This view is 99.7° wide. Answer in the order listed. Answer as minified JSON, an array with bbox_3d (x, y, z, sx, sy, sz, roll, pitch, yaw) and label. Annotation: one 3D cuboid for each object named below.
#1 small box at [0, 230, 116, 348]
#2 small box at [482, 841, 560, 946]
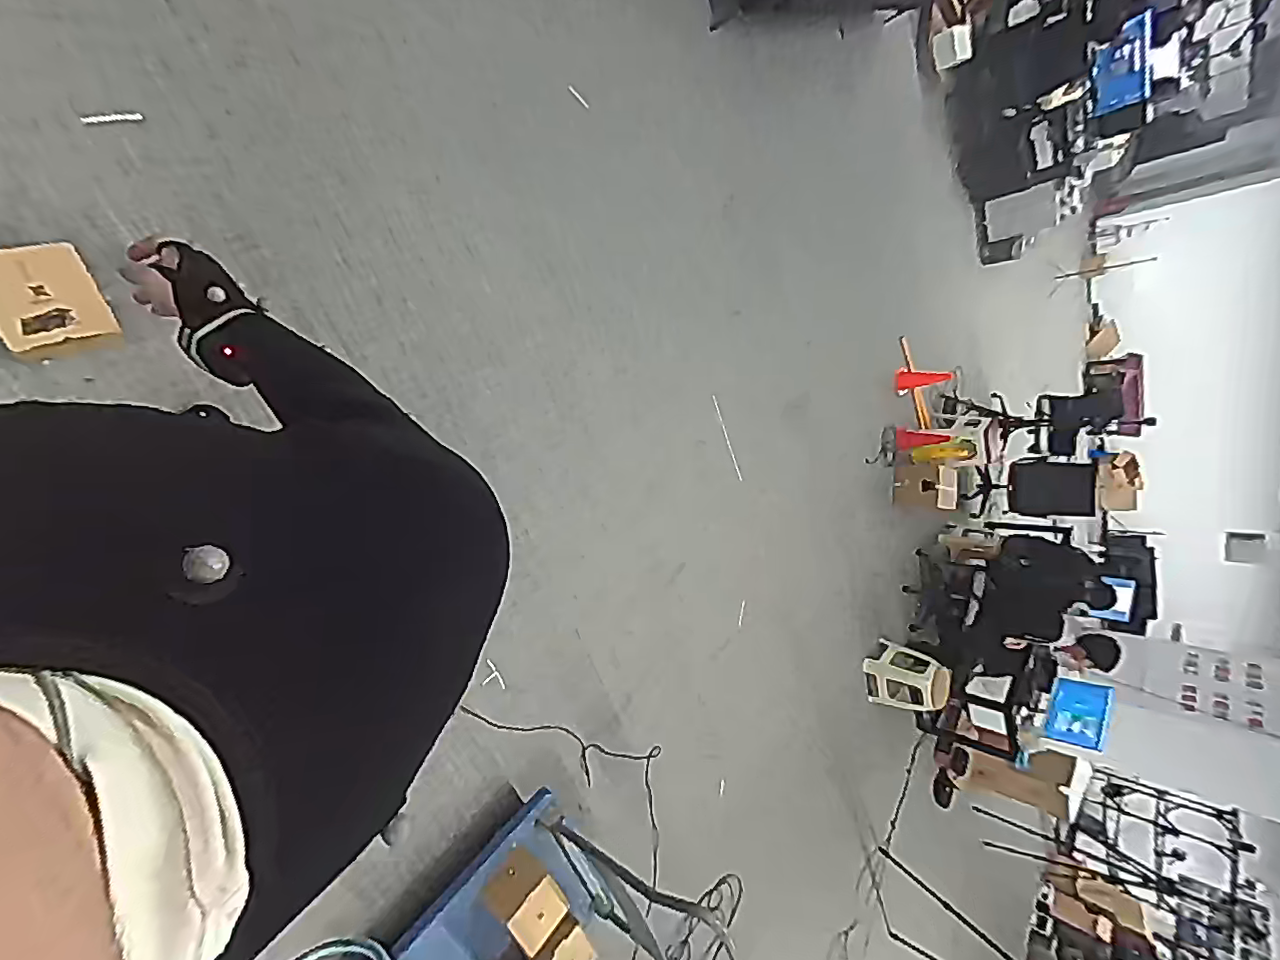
[{"bbox_3d":[-1.178,-0.367,1.063,0.168,0.176,0.179,-32,112,-38],"label":"small box"},{"bbox_3d":[-0.369,1.270,1.679,0.179,0.176,0.168,2,89,-44],"label":"small box"}]
